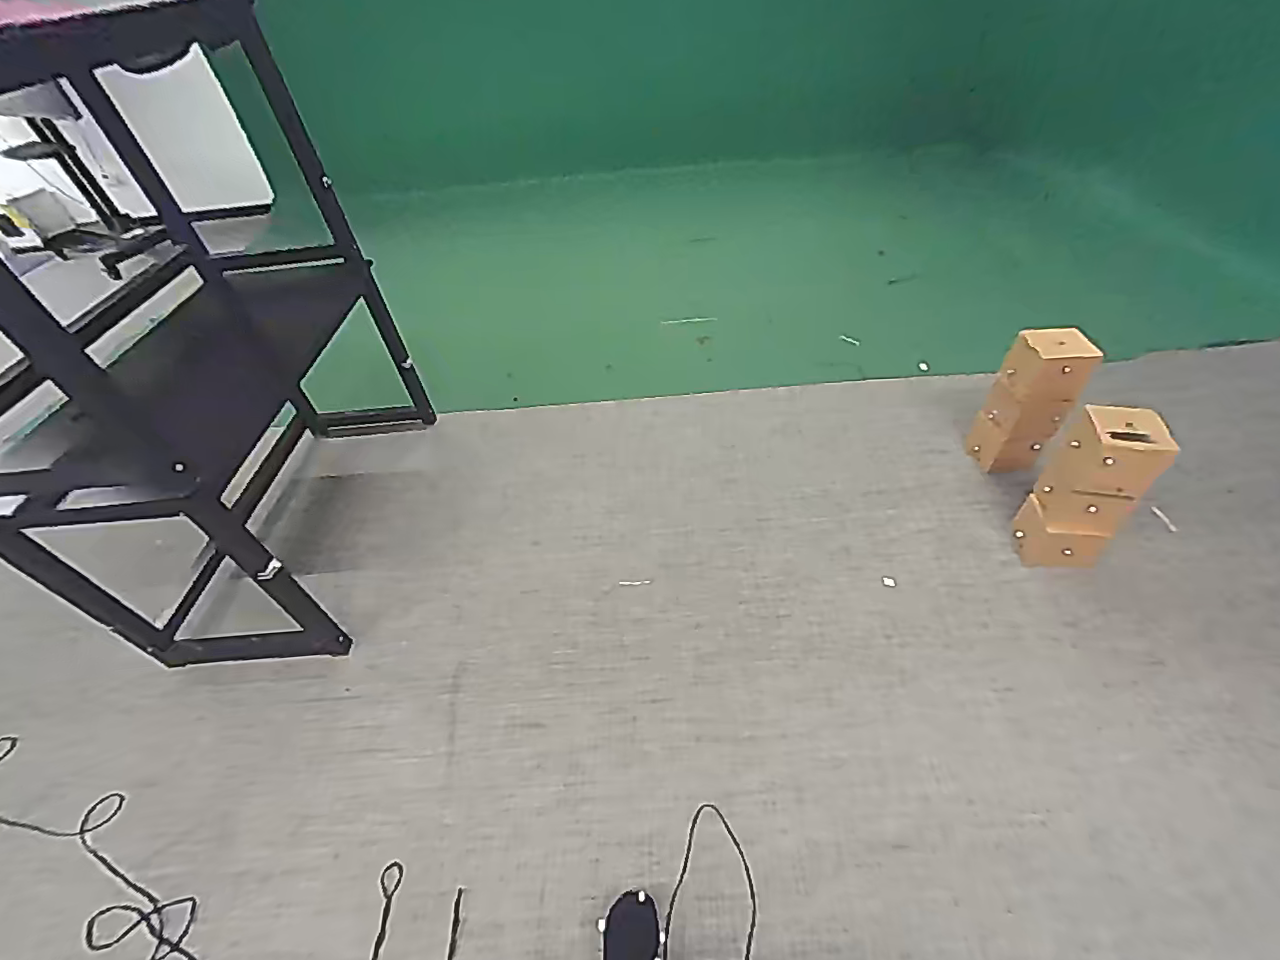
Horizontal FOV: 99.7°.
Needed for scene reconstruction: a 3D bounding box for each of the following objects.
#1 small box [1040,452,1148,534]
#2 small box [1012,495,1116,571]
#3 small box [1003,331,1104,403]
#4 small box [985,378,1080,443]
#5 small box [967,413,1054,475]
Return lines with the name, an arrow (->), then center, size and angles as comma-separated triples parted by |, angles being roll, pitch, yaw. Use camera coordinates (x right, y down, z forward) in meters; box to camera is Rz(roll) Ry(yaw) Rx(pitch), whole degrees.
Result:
small box -> 1.304, 0.039, 1.575 | 0.179, 0.176, 0.168 | 6, 46, 13
small box -> 1.305, 0.167, 1.678 | 0.179, 0.176, 0.168 | 3, 45, 10
small box -> 1.321, -0.361, 1.743 | 0.179, 0.176, 0.168 | -2, 45, 4
small box -> 1.337, -0.247, 1.857 | 0.179, 0.176, 0.168 | -7, 44, 0
small box -> 1.345, -0.137, 1.976 | 0.179, 0.176, 0.168 | -7, 45, -1
